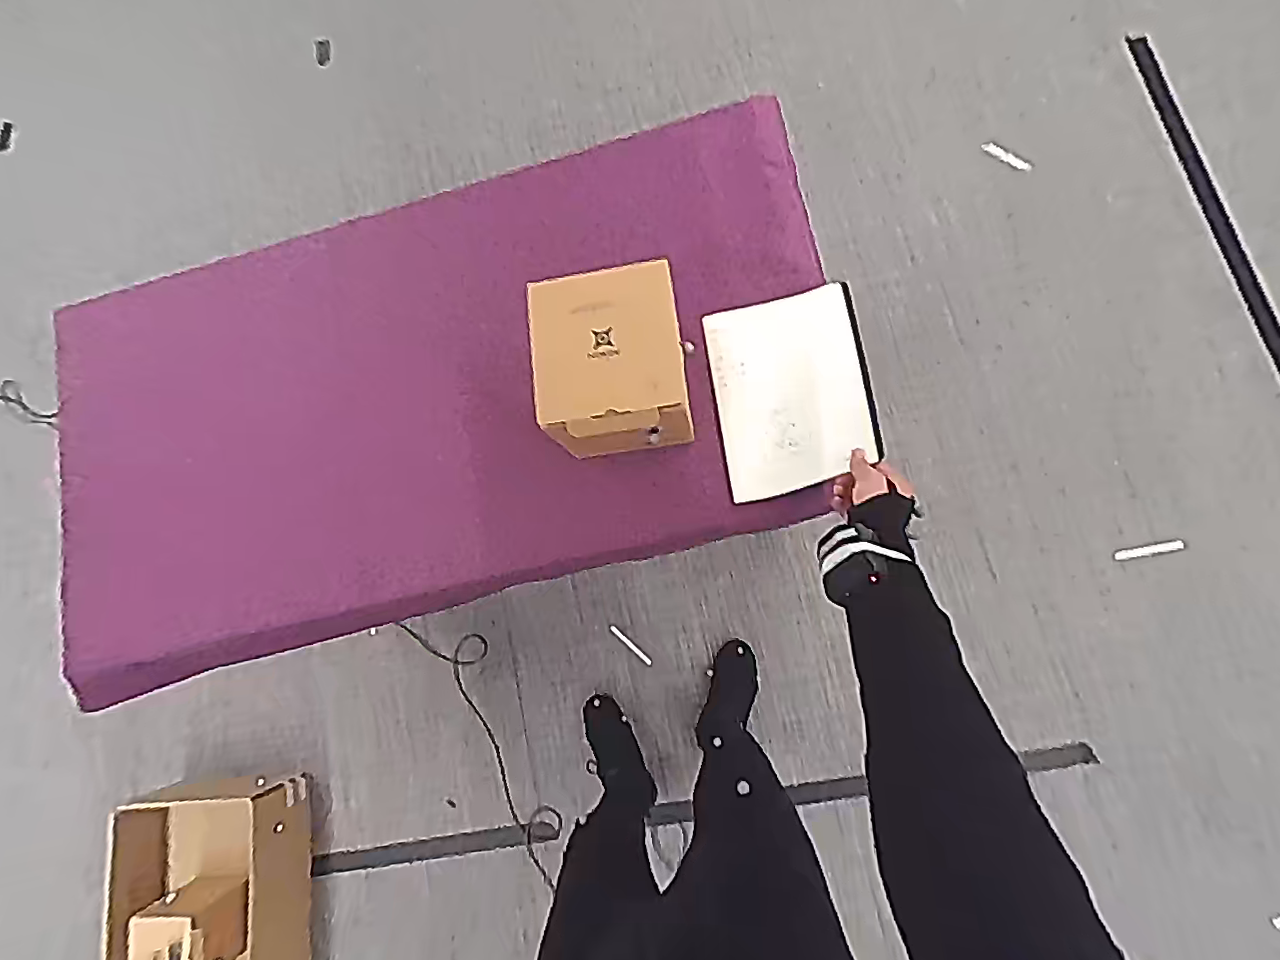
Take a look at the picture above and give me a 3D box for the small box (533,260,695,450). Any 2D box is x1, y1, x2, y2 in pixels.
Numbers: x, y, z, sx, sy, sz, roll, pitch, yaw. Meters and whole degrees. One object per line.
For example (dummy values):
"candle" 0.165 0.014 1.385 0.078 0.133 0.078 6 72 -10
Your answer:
"small box" -0.024 -0.140 0.675 0.168 0.176 0.179 -7 79 7
